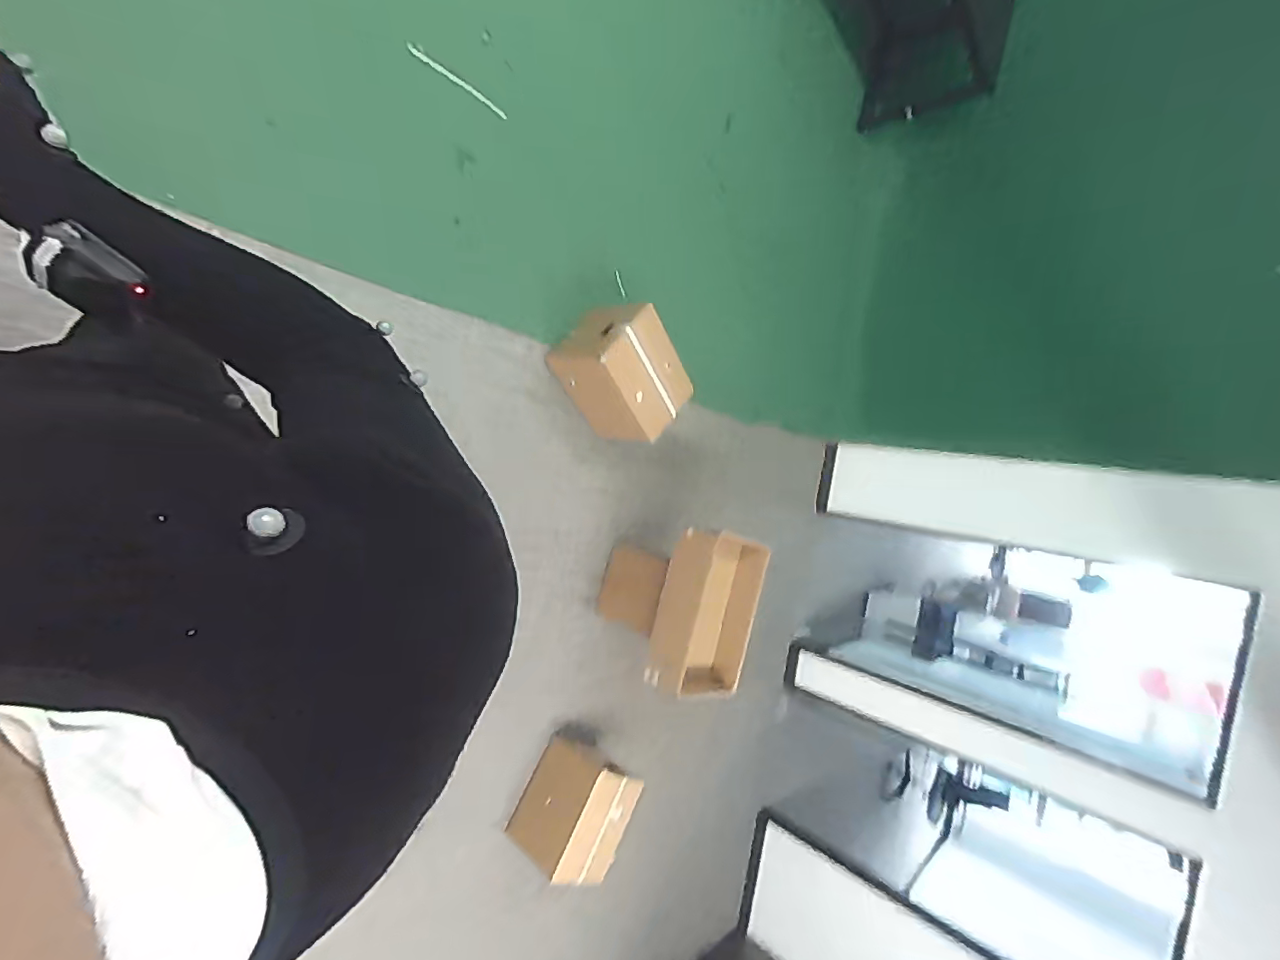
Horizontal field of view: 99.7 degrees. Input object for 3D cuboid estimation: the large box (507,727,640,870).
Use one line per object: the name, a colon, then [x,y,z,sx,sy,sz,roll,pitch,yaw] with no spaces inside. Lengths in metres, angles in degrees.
large box: [-0.271,1.300,2.221,0.320,0.320,0.408,42,67,-43]
